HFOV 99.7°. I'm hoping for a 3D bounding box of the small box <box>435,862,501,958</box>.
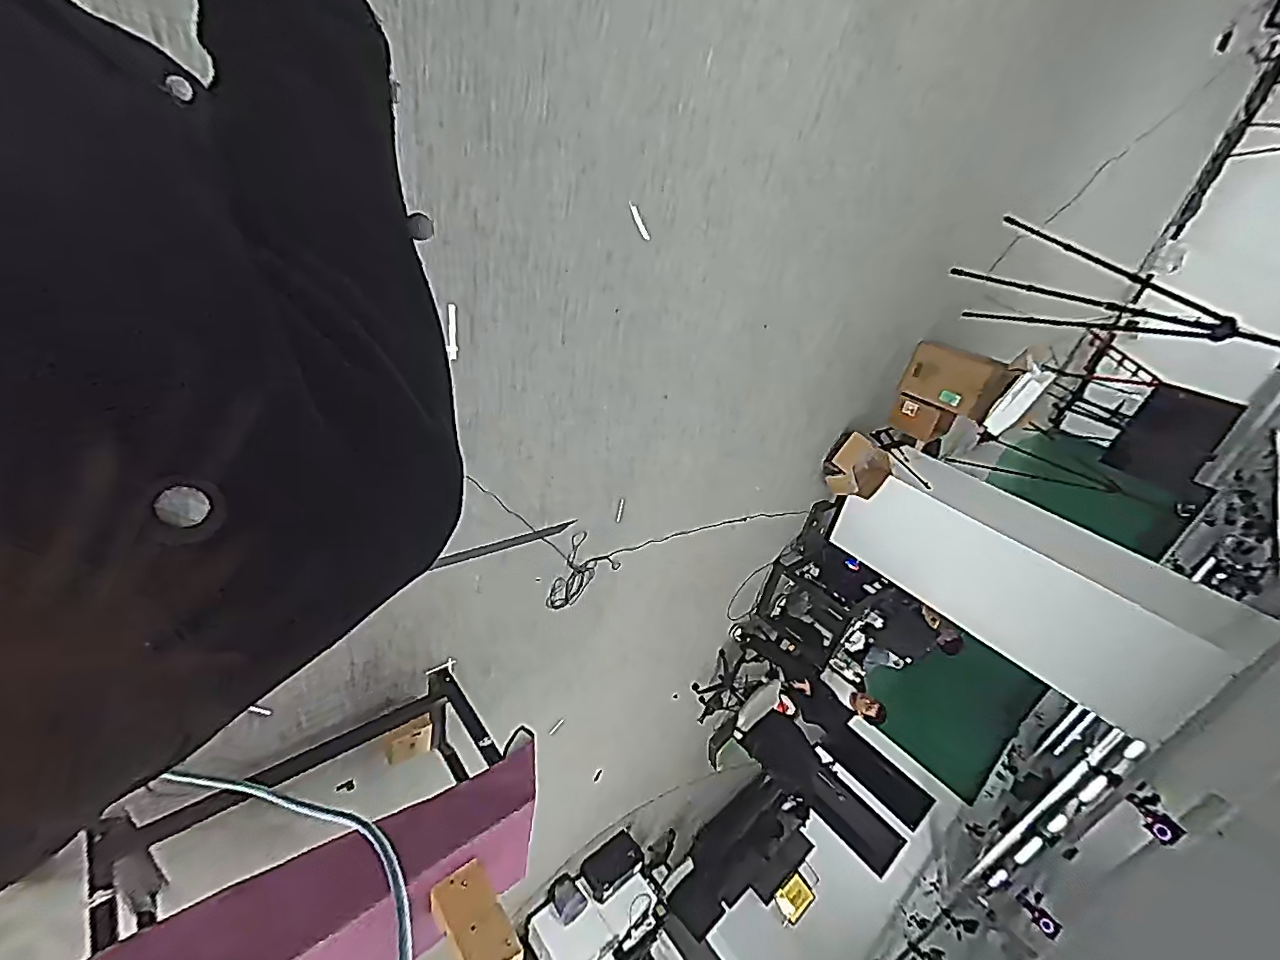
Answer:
[{"bbox_3d":[-0.598,1.478,1.871,0.168,0.176,0.179,-16,129,-39],"label":"small box"}]
